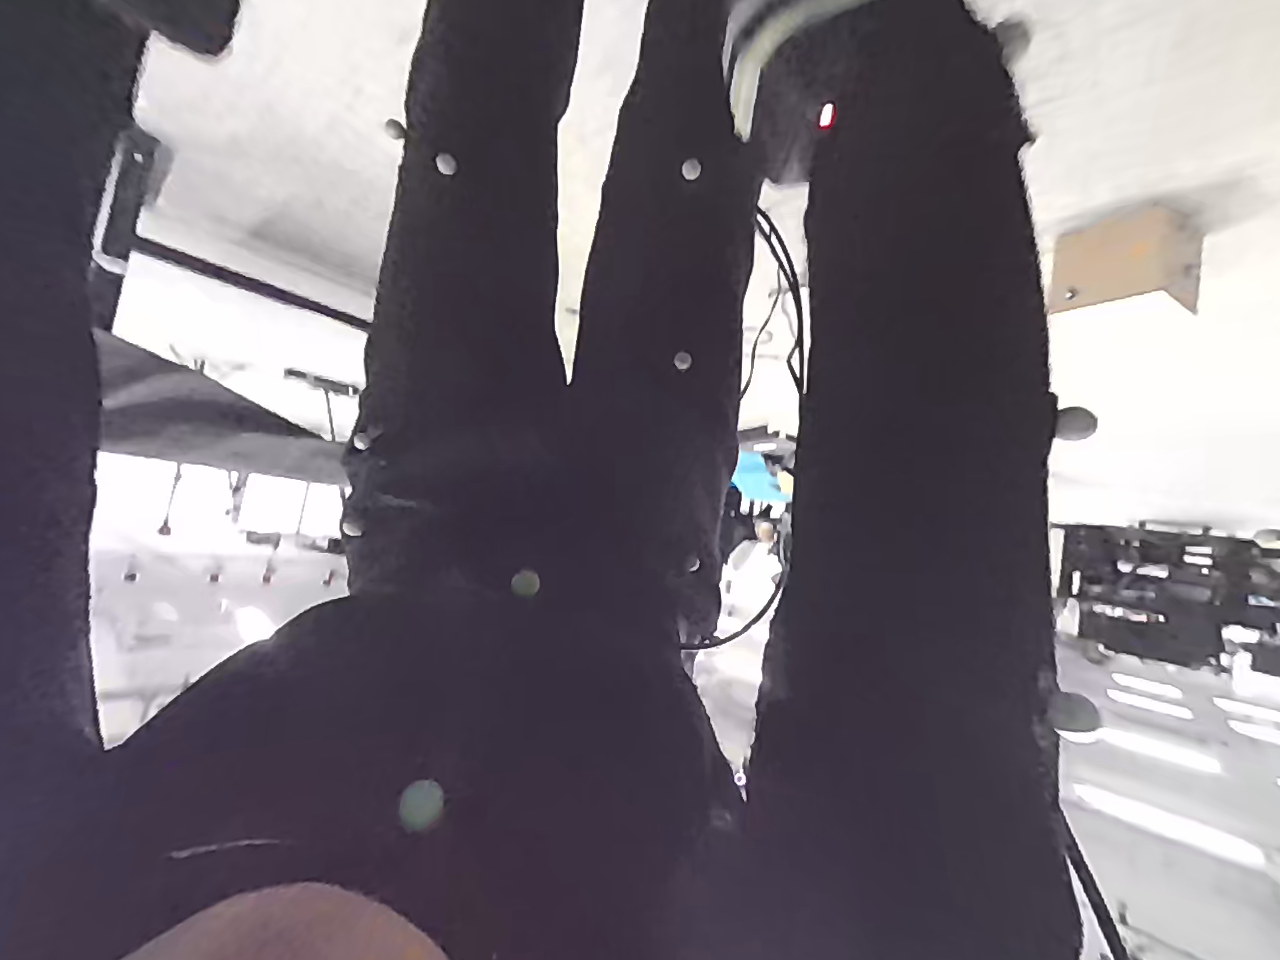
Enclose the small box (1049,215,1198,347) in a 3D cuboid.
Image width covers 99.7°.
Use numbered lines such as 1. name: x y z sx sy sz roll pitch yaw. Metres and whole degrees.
1. small box: 0.935 -0.379 1.047 0.168 0.176 0.179 12 175 -27
